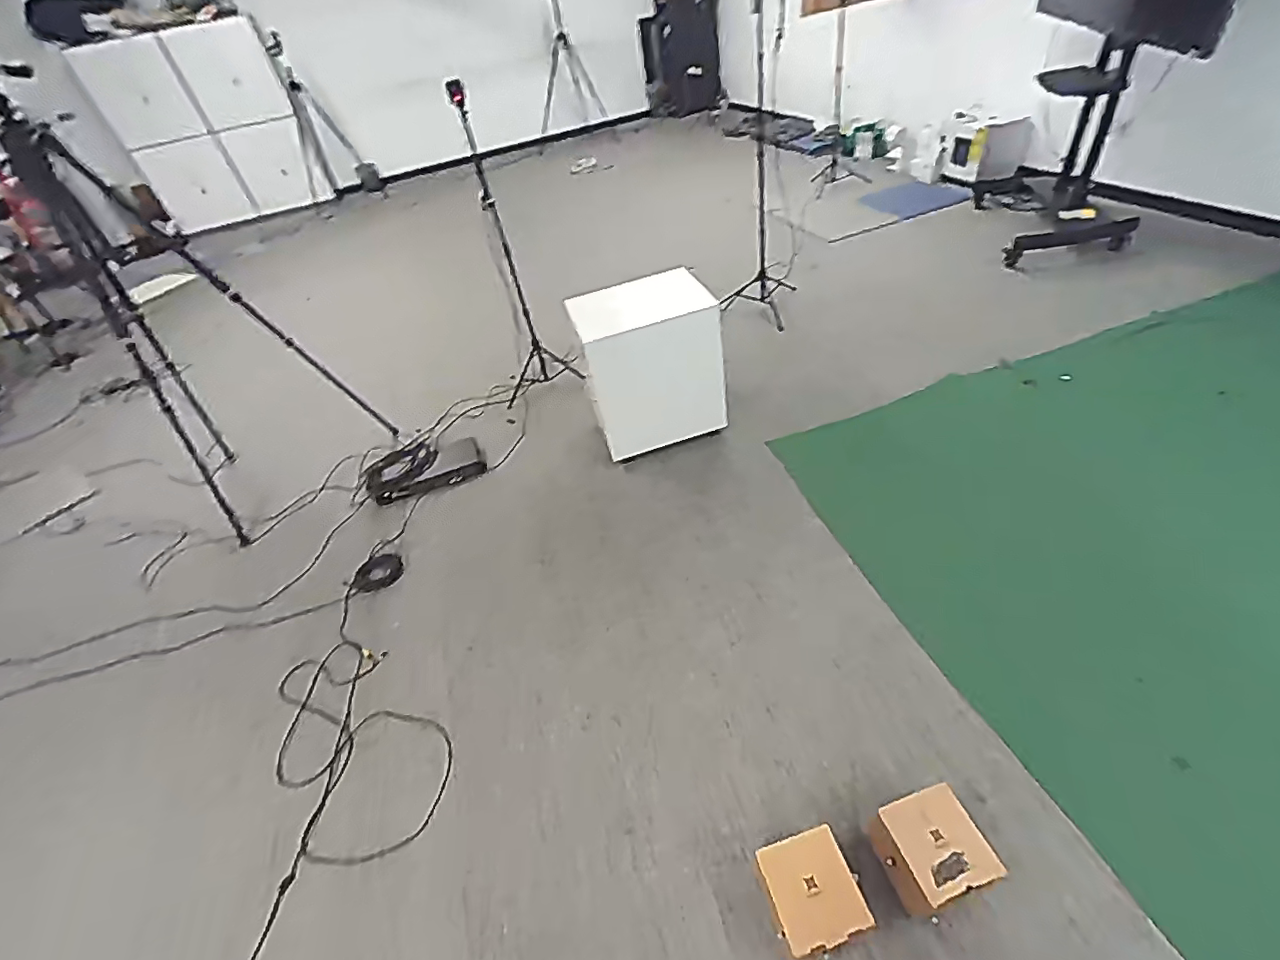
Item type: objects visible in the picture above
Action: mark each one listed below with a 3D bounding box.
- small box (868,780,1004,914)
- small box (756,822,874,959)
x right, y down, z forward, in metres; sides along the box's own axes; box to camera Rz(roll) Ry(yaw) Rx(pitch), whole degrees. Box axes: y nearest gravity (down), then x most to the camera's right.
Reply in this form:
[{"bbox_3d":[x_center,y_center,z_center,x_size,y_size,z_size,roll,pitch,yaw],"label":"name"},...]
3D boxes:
[{"bbox_3d":[0.603,0.771,1.128,0.168,0.176,0.179,-18,42,-7],"label":"small box"},{"bbox_3d":[0.345,0.845,1.106,0.168,0.176,0.179,-17,43,-7],"label":"small box"}]
